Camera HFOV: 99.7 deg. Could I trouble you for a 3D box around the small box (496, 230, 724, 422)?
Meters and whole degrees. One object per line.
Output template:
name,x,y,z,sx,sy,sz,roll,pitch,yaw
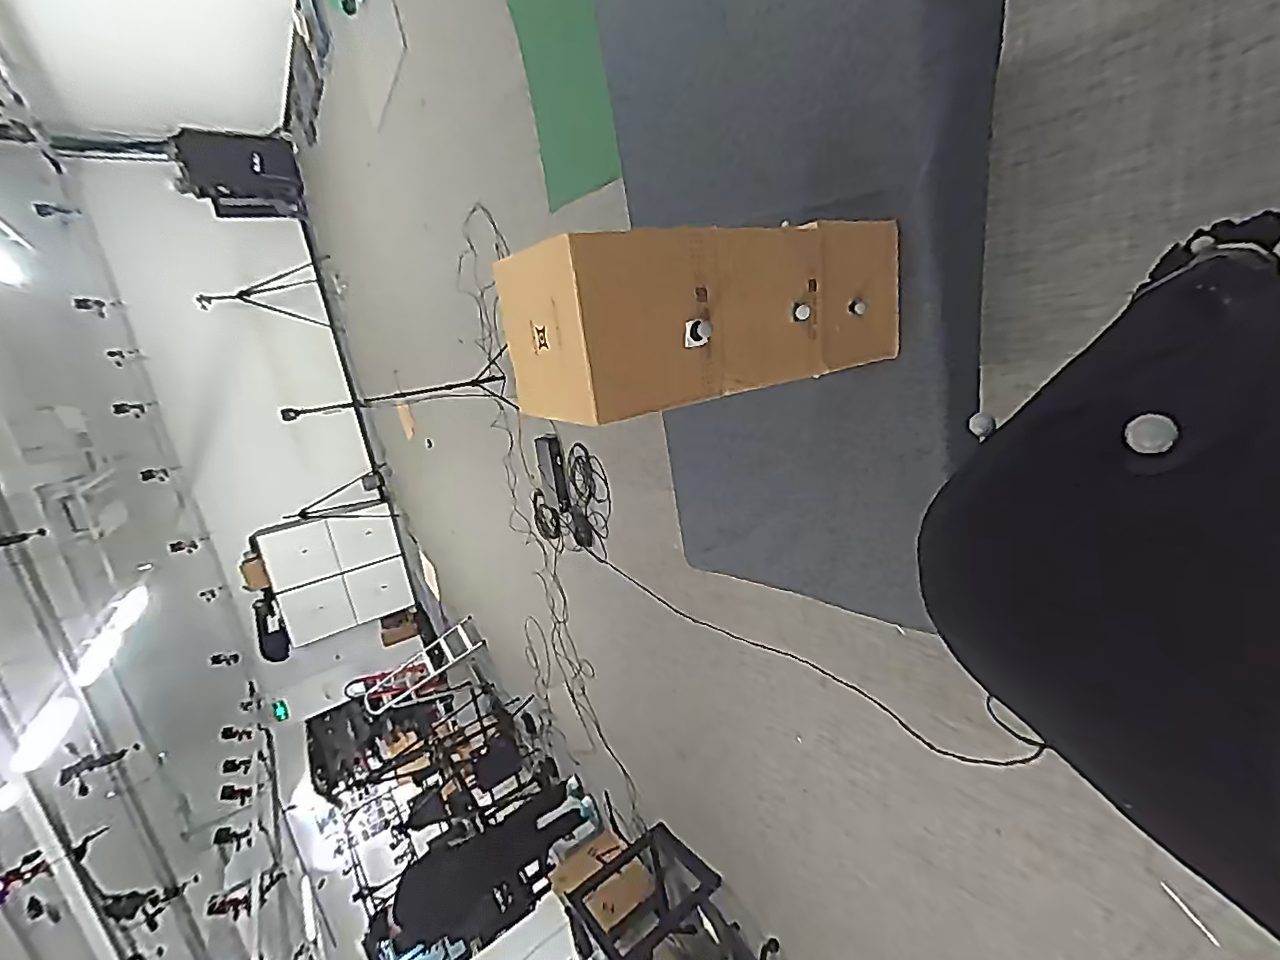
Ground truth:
small box,-0.032,-0.166,0.586,0.179,0.176,0.168,15,119,53

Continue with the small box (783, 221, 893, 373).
small box,0.234,-0.250,0.755,0.168,0.176,0.179,14,117,54

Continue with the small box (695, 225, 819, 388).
small box,0.097,-0.210,0.673,0.179,0.176,0.168,15,117,56
